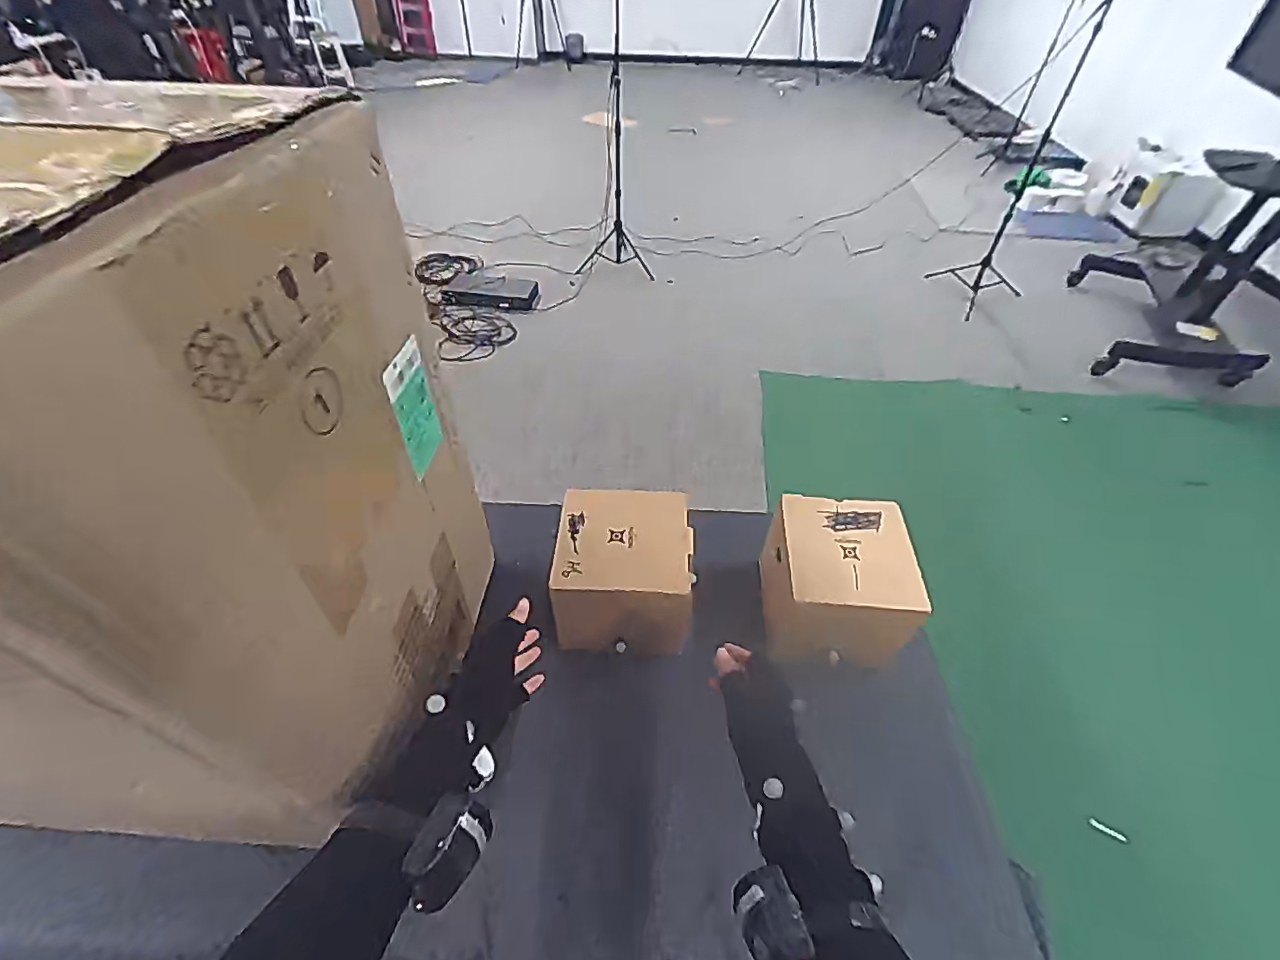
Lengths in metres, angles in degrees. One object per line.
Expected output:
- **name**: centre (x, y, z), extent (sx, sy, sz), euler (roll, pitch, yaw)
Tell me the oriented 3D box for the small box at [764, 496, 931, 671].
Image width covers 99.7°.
- **small box**: centre (0.276, 0.147, 0.769), extent (0.168, 0.176, 0.179), euler (4, 47, 3)
